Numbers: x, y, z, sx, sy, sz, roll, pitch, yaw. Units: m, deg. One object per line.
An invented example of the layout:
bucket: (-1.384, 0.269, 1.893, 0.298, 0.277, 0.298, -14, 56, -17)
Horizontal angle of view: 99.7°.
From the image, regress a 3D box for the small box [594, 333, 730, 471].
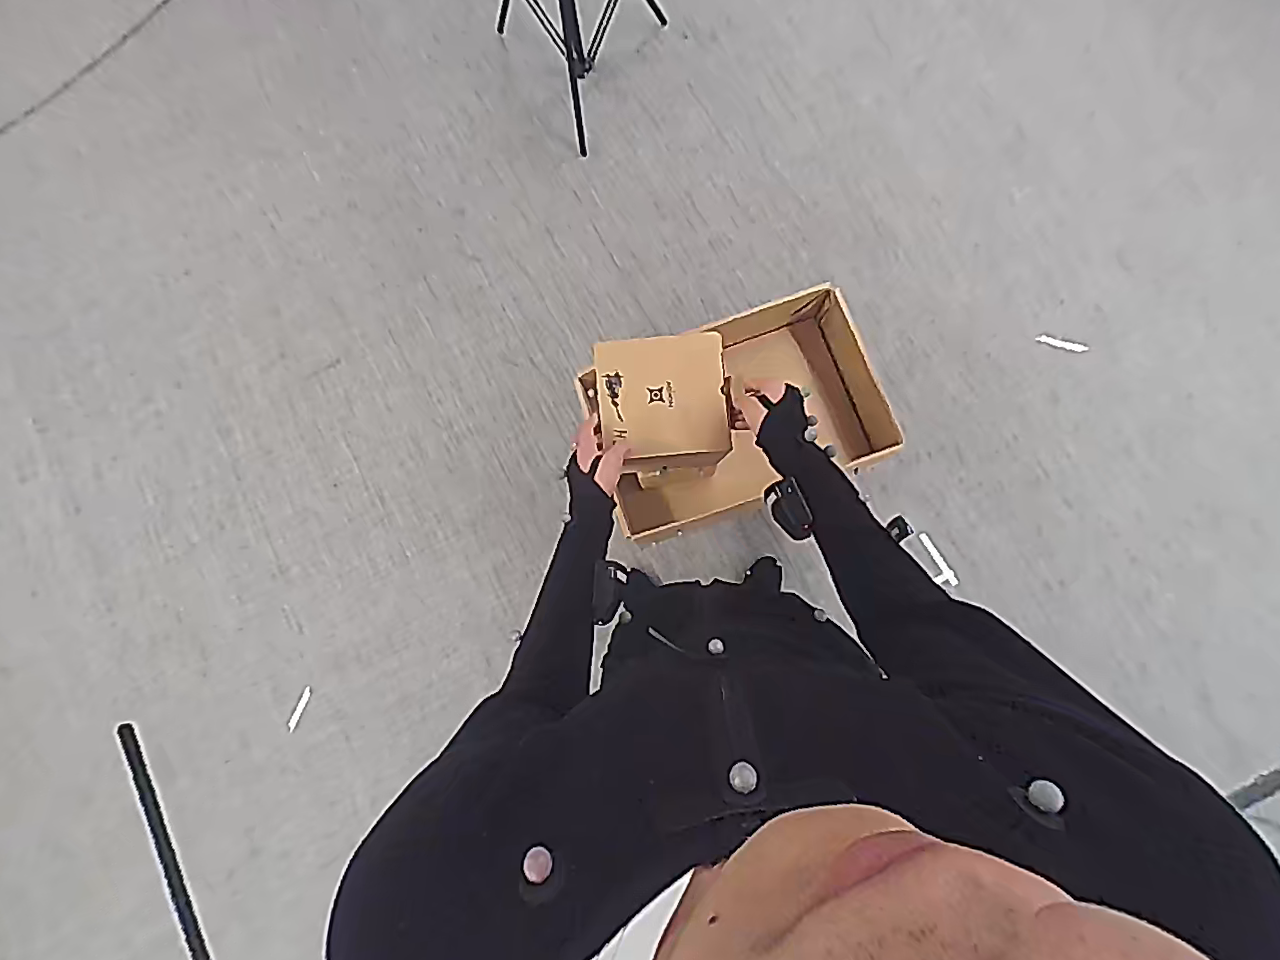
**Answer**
small box: (0.027, -0.107, 0.804, 0.179, 0.176, 0.168, -5, 84, -1)
